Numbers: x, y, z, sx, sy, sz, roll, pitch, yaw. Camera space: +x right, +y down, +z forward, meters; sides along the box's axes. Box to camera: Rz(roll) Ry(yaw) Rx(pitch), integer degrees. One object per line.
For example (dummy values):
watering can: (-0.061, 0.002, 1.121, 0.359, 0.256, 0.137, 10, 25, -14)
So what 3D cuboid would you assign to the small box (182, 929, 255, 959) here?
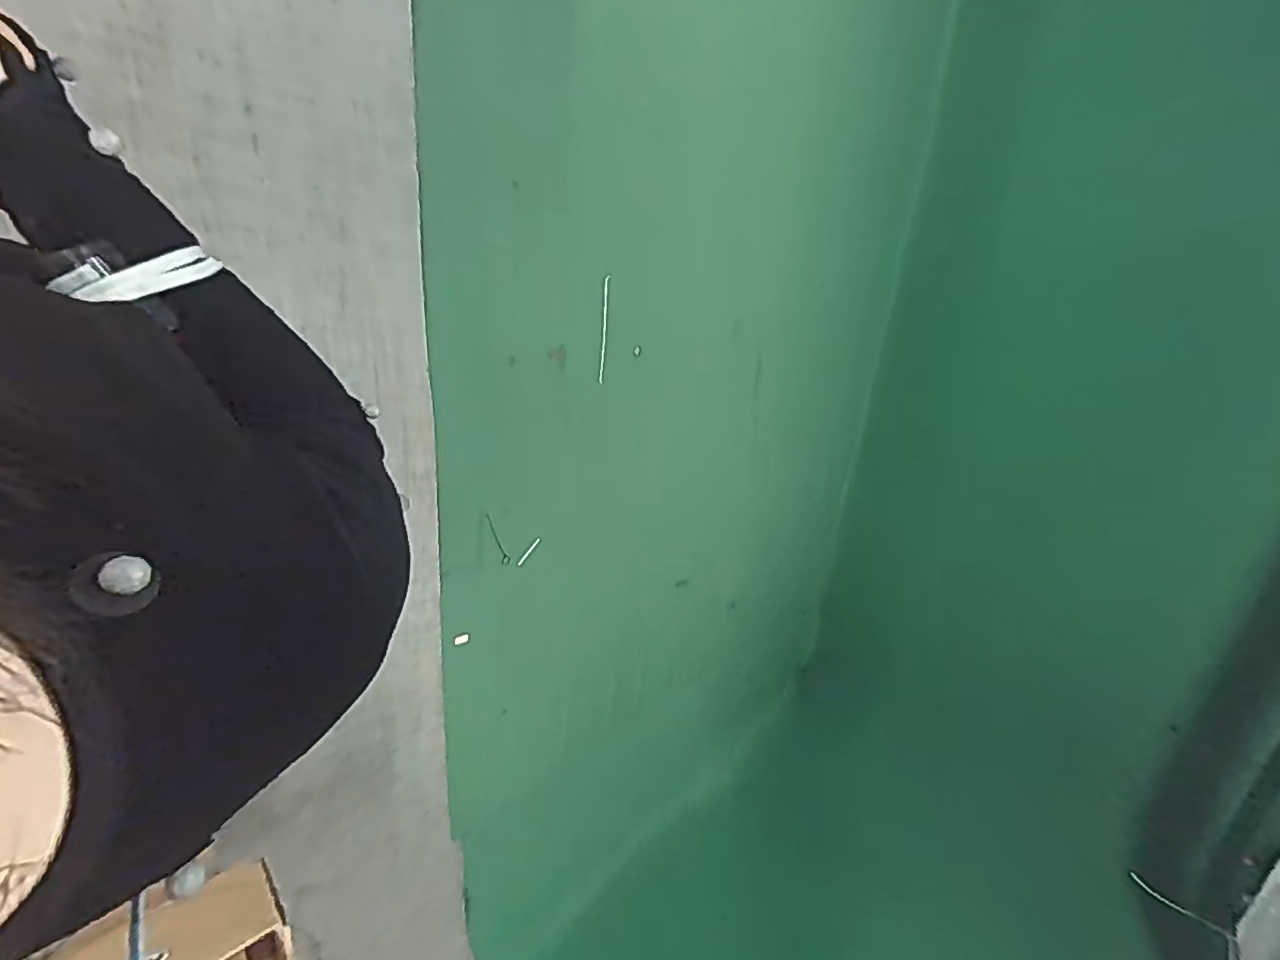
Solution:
small box: (-0.807, 0.999, 0.997, 0.179, 0.176, 0.168, -10, 112, -43)
